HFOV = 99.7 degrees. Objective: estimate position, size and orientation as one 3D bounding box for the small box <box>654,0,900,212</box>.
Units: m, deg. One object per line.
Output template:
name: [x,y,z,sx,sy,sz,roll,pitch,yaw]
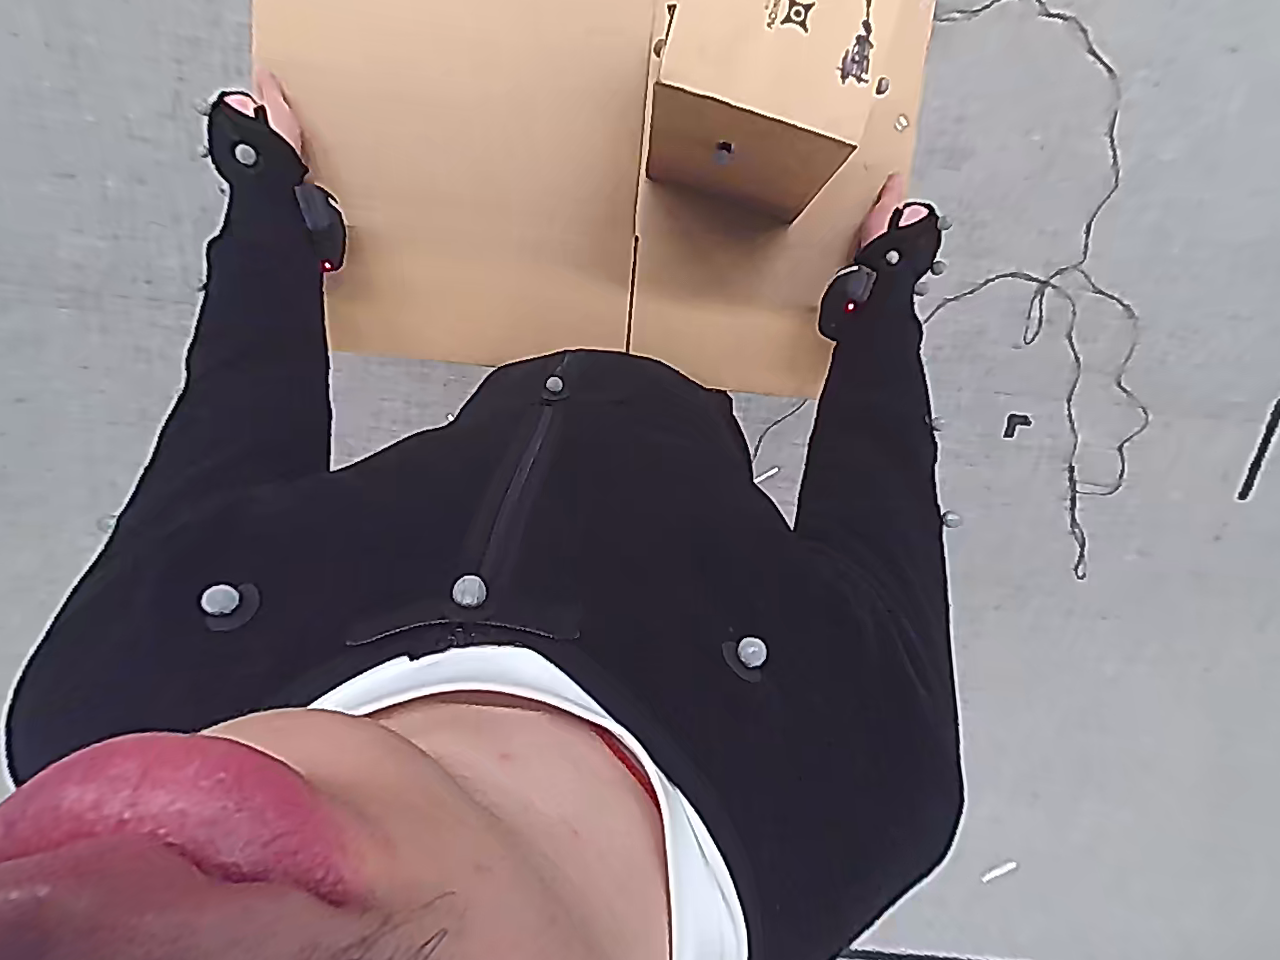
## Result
small box: [0.116,-0.385,0.516,0.179,0.176,0.168,15,96,-3]
